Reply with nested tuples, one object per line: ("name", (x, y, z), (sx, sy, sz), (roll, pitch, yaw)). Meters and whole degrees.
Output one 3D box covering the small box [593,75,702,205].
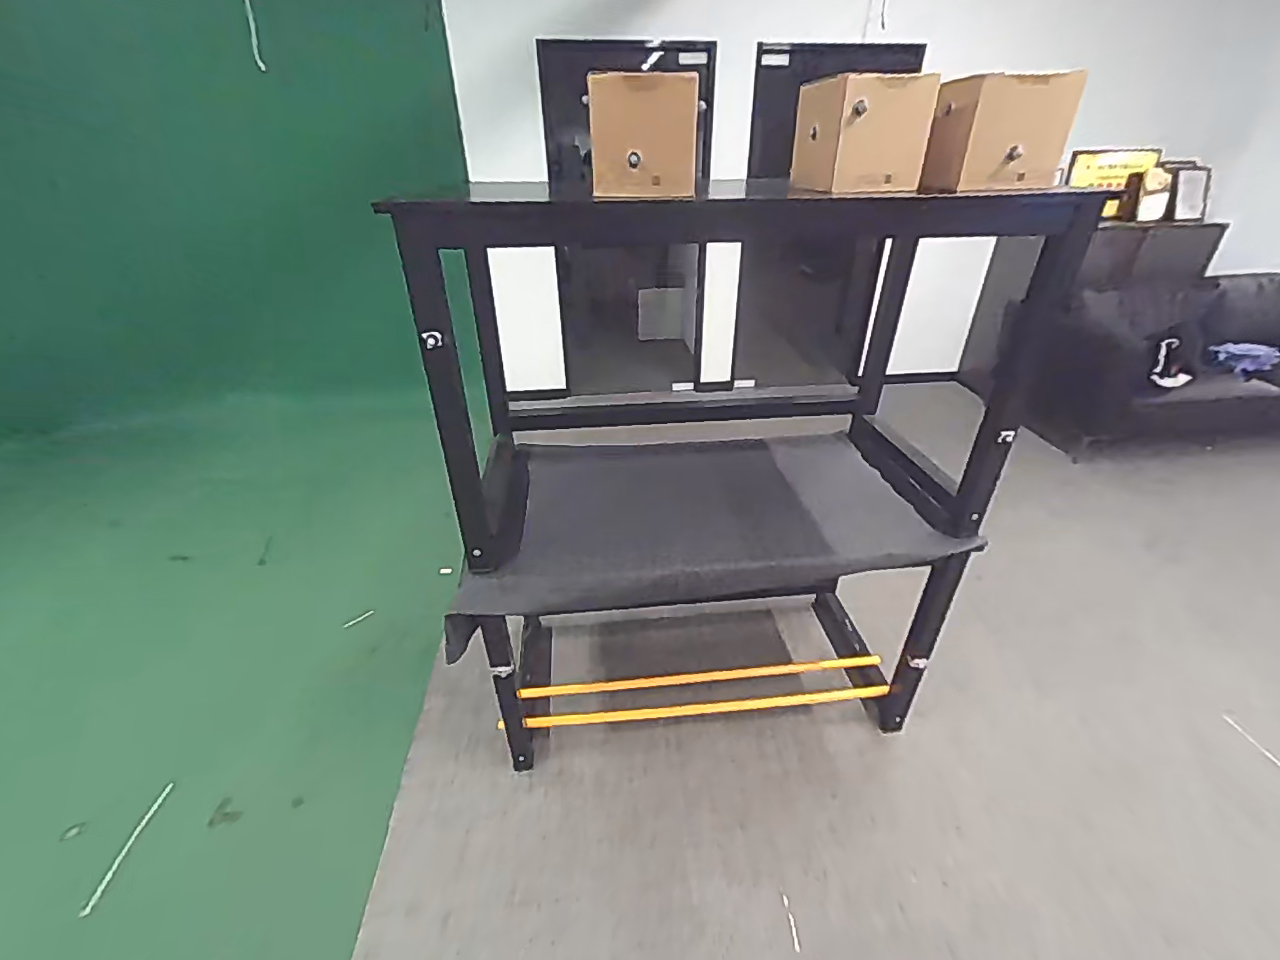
("small box", (0.013, -0.569, 0.915), (0.168, 0.176, 0.179), (1, 31, 2))
